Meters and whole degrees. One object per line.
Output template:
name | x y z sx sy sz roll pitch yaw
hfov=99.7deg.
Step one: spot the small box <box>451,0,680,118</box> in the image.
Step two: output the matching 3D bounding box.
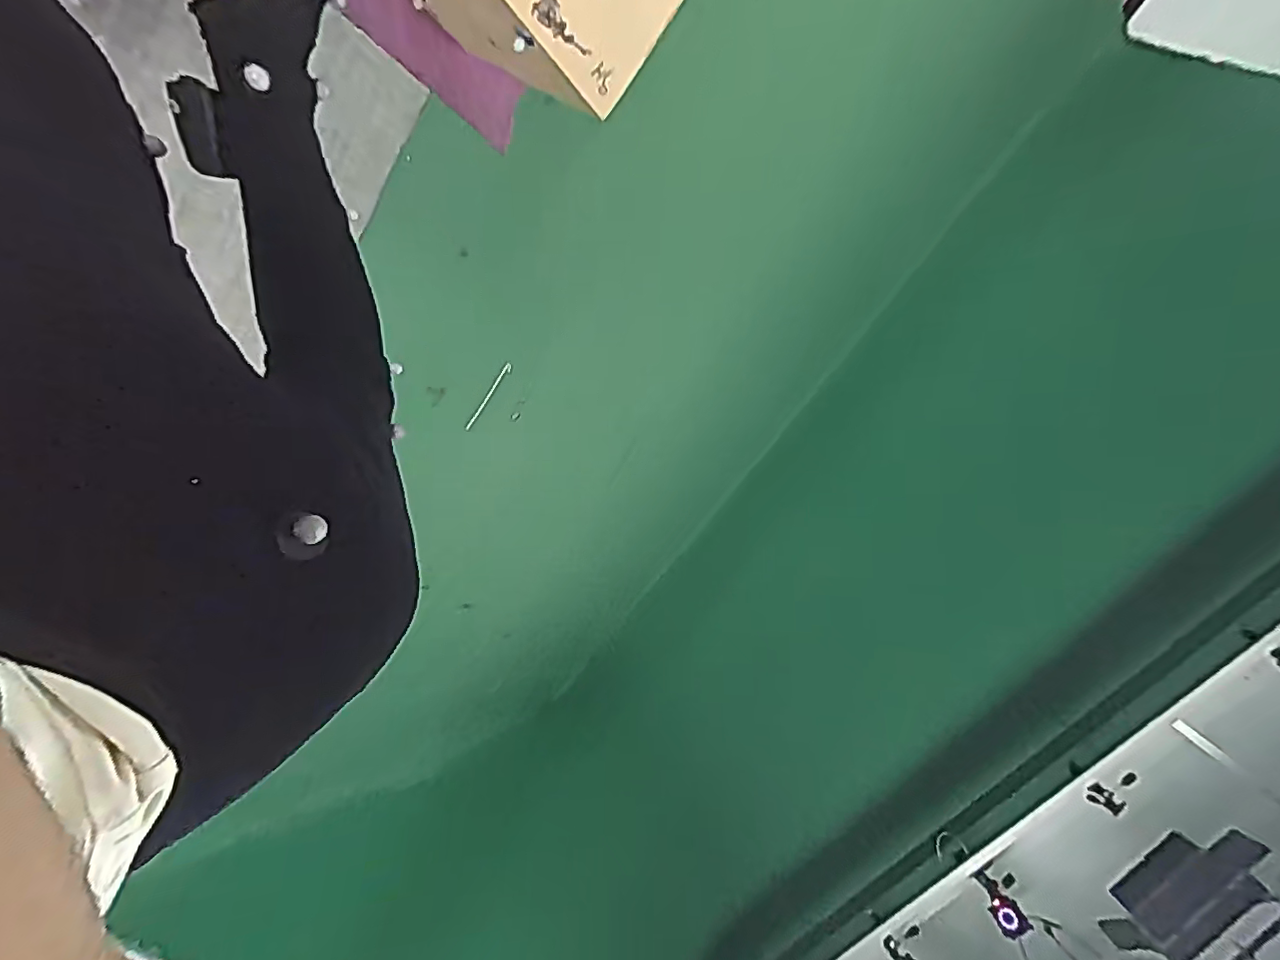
small box | -0.078 -0.496 0.504 0.179 0.176 0.168 -52 148 13
